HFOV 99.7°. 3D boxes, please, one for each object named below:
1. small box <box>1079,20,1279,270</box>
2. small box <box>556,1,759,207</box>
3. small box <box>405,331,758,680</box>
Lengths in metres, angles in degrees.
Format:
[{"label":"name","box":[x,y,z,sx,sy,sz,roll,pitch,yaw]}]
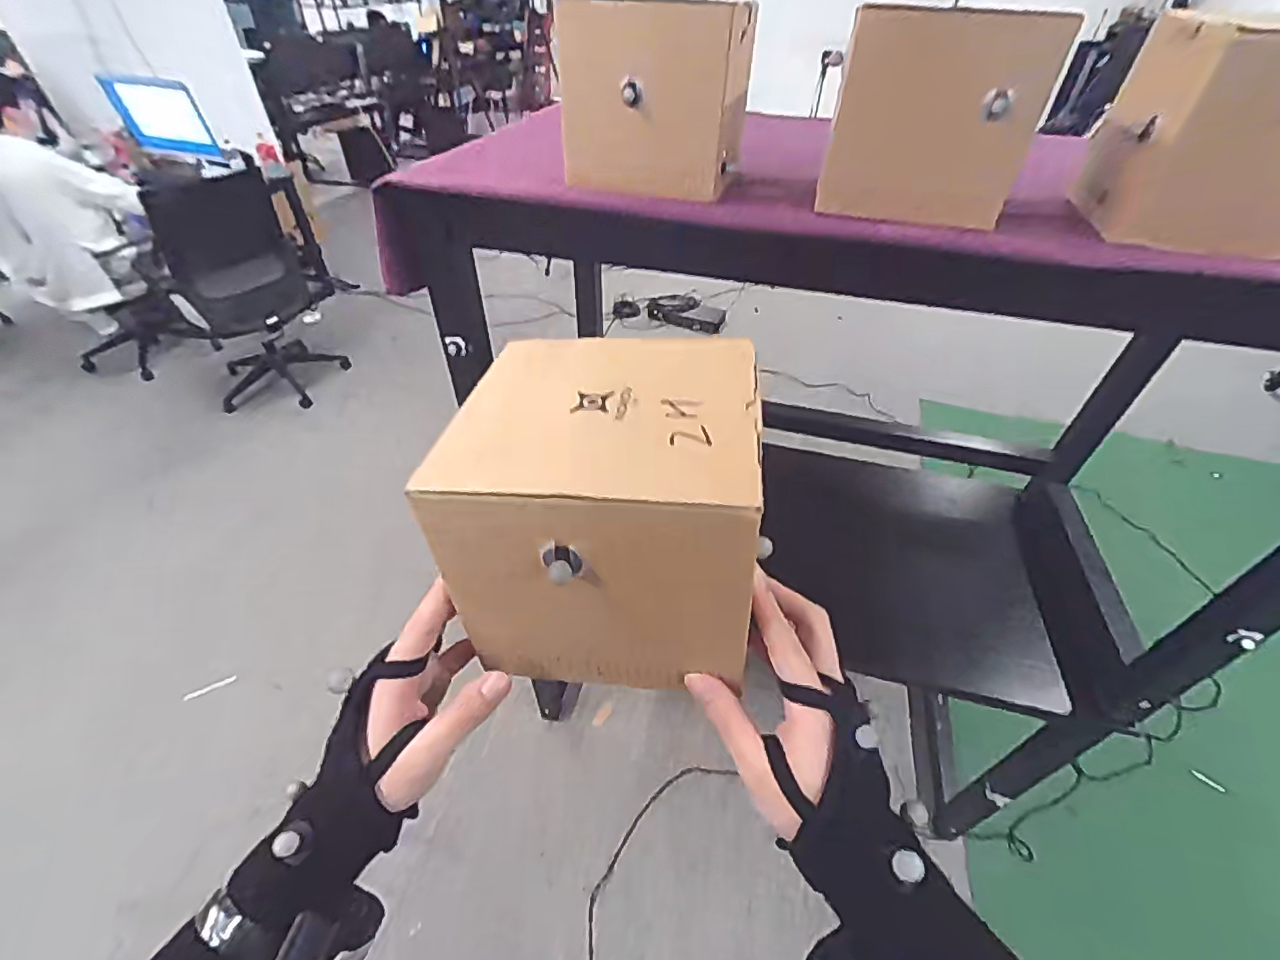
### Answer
[{"label":"small box","box":[0.556,-0.313,0.506,0.179,0.176,0.168,13,46,12]},{"label":"small box","box":[0.023,-0.421,0.607,0.179,0.176,0.168,12,43,12]},{"label":"small box","box":[-0.015,0.014,0.363,0.179,0.176,0.168,3,41,9]}]
